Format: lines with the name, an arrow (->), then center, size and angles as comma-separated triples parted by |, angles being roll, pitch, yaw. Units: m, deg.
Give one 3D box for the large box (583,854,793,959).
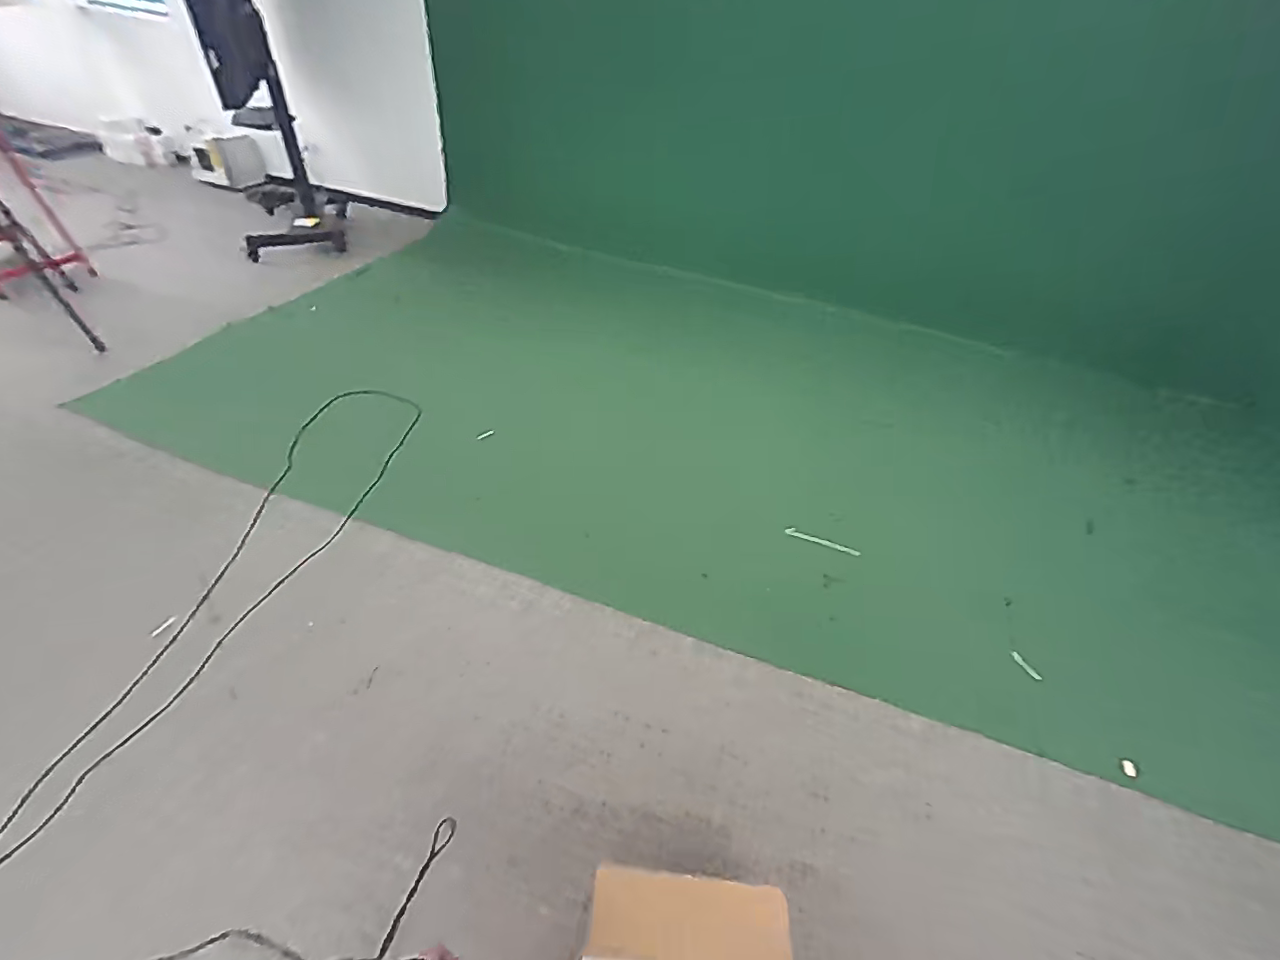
large box -> 0.083, 1.026, 1.134 | 0.408, 0.320, 0.320 | 8, 45, 0
